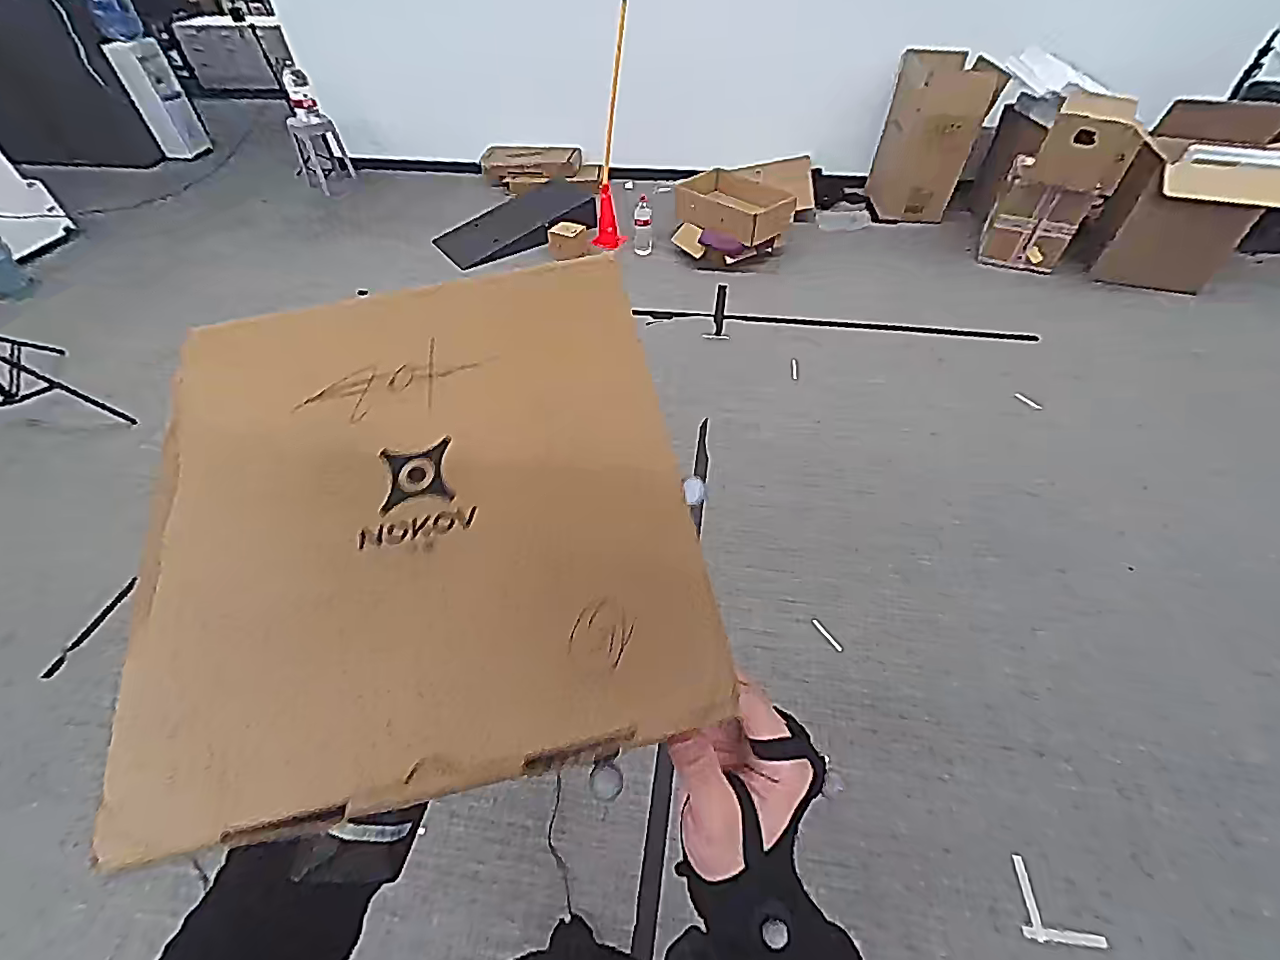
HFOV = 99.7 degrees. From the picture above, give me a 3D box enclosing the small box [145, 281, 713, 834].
[{"bbox_3d":[-0.072,0.041,0.261,0.168,0.176,0.179,-12,62,-6],"label":"small box"}]
